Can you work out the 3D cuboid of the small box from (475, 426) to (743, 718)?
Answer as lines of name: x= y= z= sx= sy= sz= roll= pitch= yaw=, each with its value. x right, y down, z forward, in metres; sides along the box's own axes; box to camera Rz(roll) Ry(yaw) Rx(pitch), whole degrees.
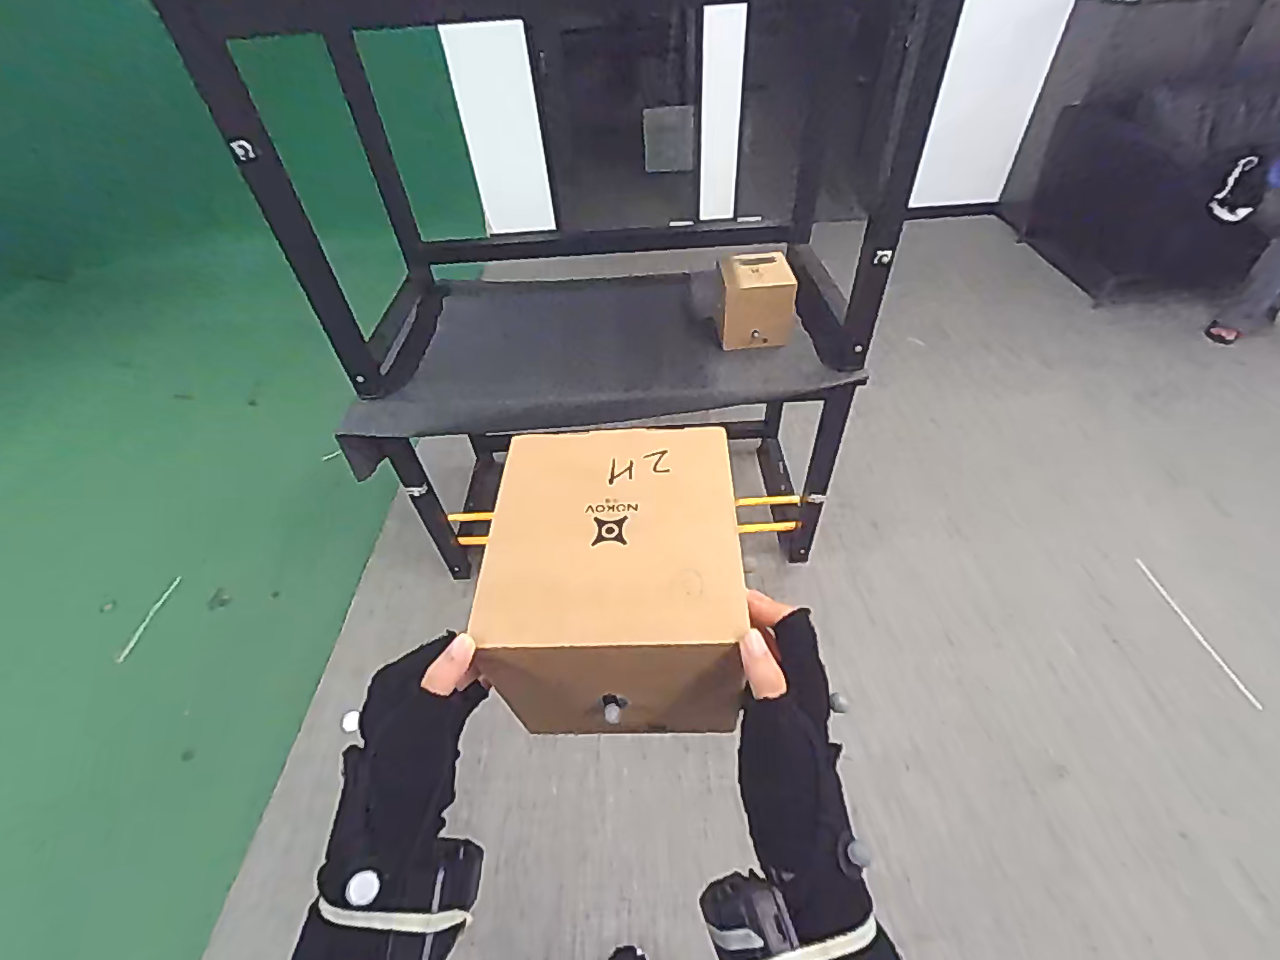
small box: x=-0.012 y=0.079 z=0.432 sx=0.168 sy=0.176 sz=0.179 roll=-2 pitch=49 yaw=3
